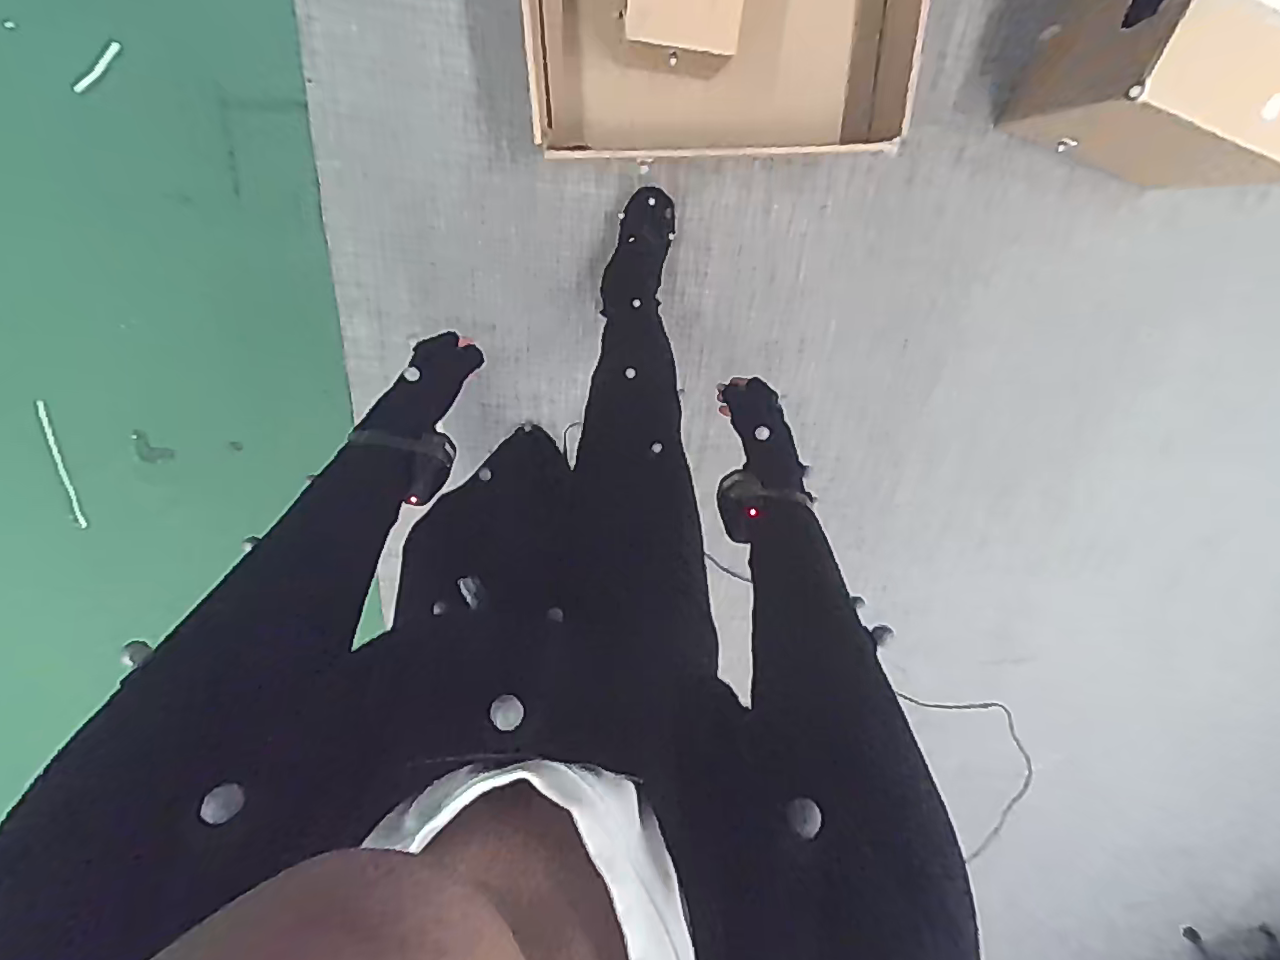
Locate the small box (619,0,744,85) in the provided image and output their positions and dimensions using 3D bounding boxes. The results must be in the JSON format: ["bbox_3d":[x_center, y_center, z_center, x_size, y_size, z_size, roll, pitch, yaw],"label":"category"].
[{"bbox_3d":[0.062,-0.753,0.860,0.179,0.176,0.168,2,116,-8],"label":"small box"}]
